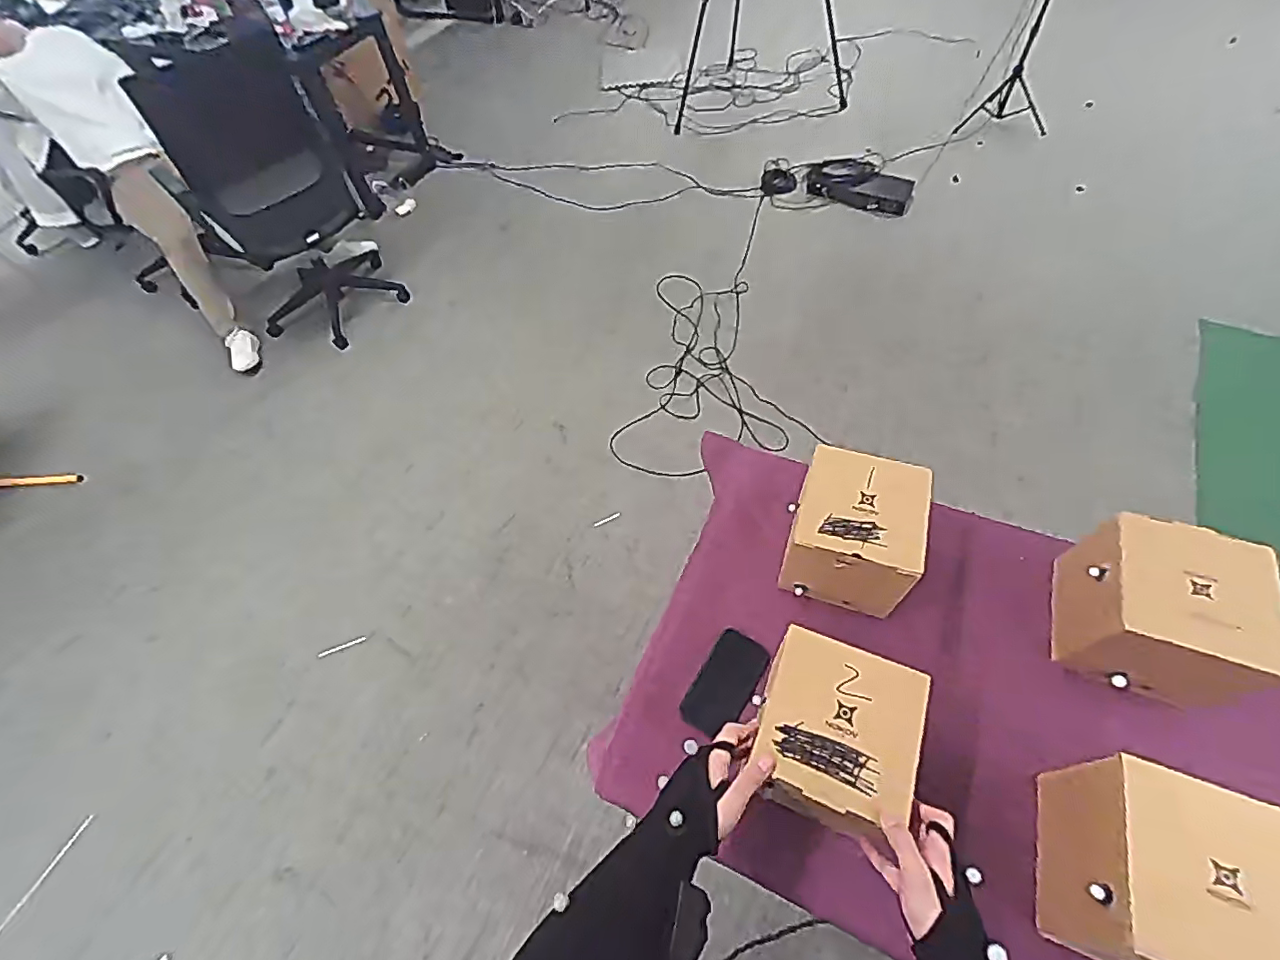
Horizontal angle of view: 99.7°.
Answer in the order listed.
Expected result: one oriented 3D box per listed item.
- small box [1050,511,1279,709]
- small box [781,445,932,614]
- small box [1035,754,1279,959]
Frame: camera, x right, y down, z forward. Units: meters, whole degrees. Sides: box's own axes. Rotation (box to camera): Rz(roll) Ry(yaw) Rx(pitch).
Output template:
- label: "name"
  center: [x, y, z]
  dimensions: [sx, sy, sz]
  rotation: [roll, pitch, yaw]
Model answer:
- label: "small box"
  center: [0.681, 0.176, 0.718]
  dimensions: [0.168, 0.176, 0.179]
  rotation: [18, 60, 17]
- label: "small box"
  center: [0.317, 0.079, 0.815]
  dimensions: [0.168, 0.176, 0.179]
  rotation: [15, 59, 15]
- label: "small box"
  center: [0.548, 0.420, 0.565]
  dimensions: [0.168, 0.176, 0.179]
  rotation: [17, 59, 16]
